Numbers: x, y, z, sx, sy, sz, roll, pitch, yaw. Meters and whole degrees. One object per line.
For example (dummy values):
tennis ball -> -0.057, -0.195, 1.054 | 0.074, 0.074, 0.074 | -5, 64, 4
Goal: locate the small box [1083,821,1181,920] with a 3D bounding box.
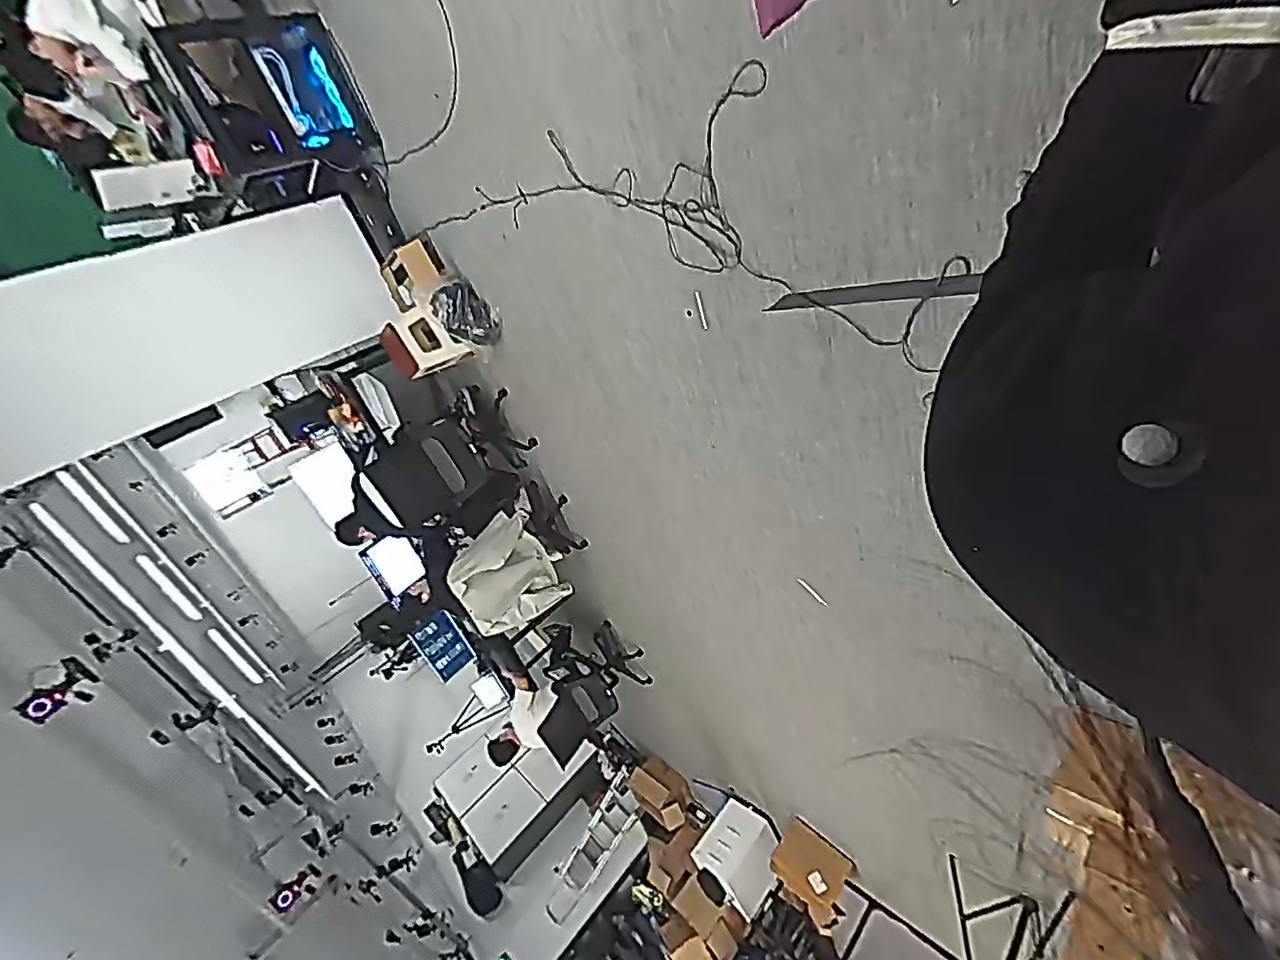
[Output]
small box -> 1.363, 1.100, 1.500 | 0.179, 0.176, 0.168 | 12, 130, 49

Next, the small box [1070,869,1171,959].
small box -> 1.252, 1.179, 1.410 | 0.168, 0.176, 0.179 | 12, 130, 47
